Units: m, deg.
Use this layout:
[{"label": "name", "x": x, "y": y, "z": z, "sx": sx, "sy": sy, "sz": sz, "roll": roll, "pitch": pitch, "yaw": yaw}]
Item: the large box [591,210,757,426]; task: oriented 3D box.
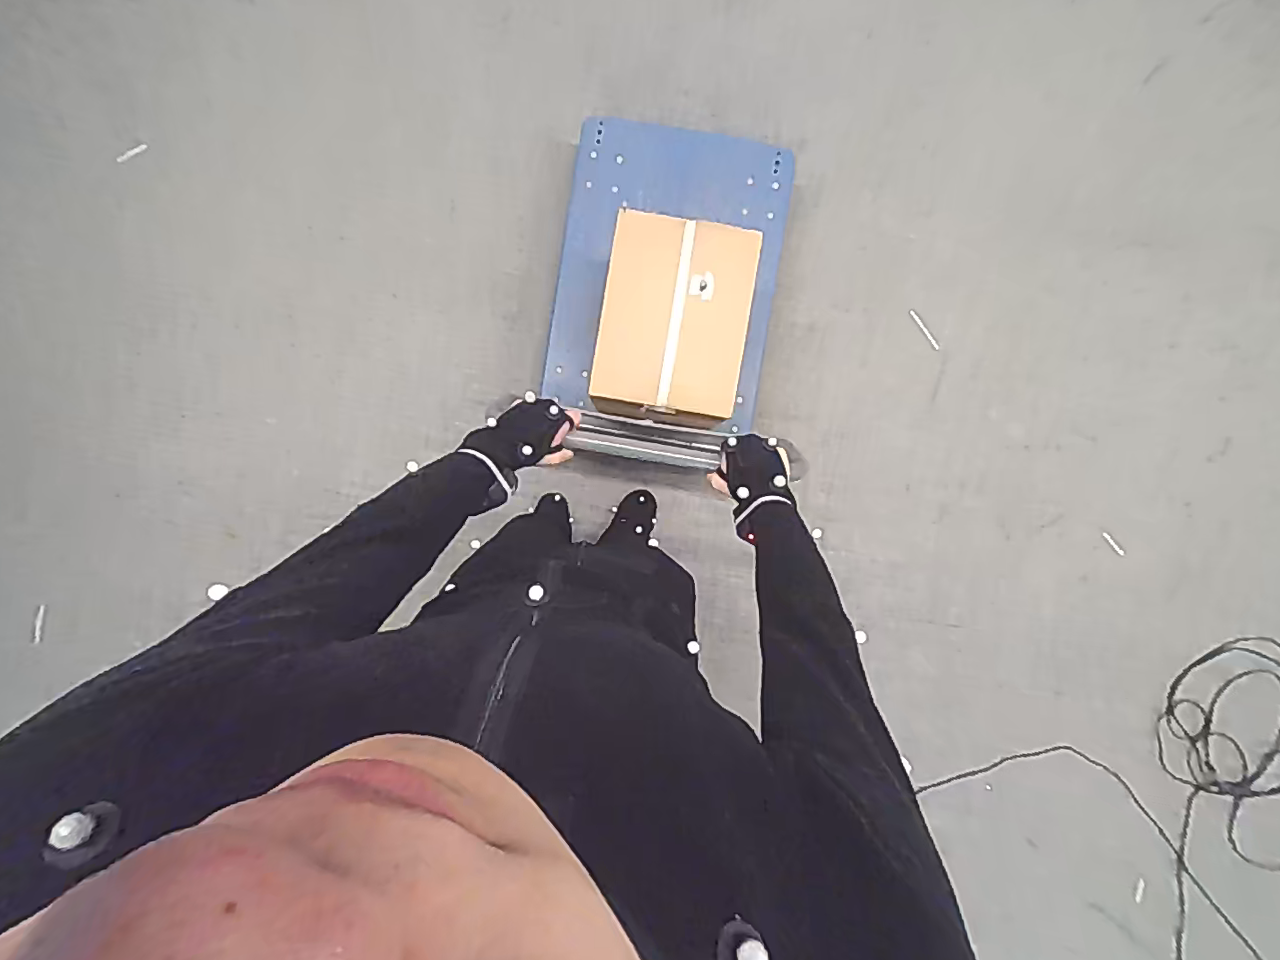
[{"label": "large box", "x": 0.071, "y": -0.358, "z": 1.301, "sx": 0.320, "sy": 0.320, "sz": 0.408, "roll": 9, "pitch": 90, "yaw": -2}]
